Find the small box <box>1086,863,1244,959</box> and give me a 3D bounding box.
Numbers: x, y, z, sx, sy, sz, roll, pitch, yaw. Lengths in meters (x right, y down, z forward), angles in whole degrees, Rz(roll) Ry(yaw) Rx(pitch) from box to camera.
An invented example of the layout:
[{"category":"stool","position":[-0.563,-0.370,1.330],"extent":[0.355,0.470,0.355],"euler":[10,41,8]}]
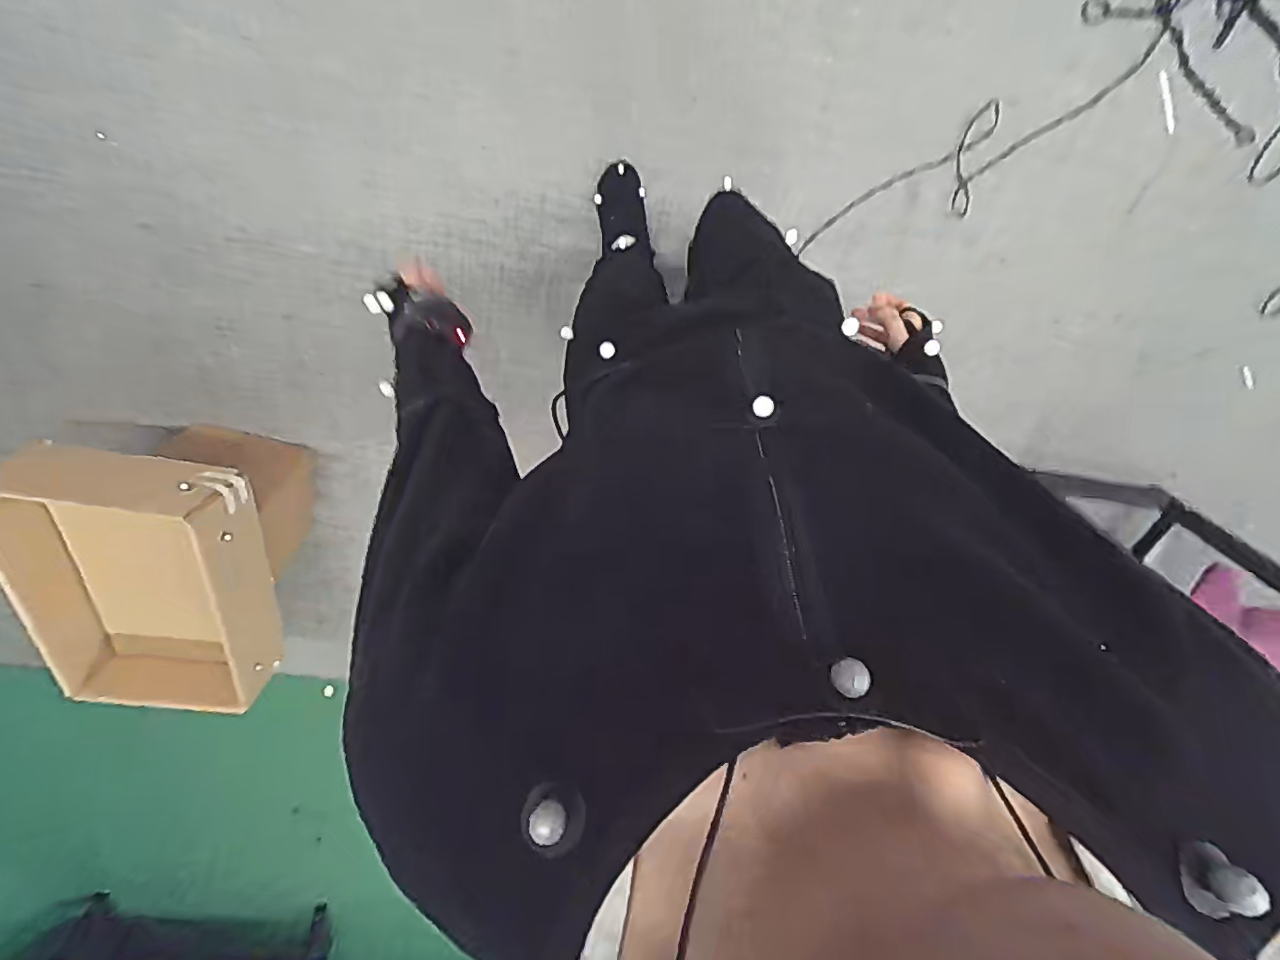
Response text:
[{"category":"small box","position":[1.248,1.059,1.303],"extent":[0.179,0.176,0.168],"euler":[14,118,-9]}]
